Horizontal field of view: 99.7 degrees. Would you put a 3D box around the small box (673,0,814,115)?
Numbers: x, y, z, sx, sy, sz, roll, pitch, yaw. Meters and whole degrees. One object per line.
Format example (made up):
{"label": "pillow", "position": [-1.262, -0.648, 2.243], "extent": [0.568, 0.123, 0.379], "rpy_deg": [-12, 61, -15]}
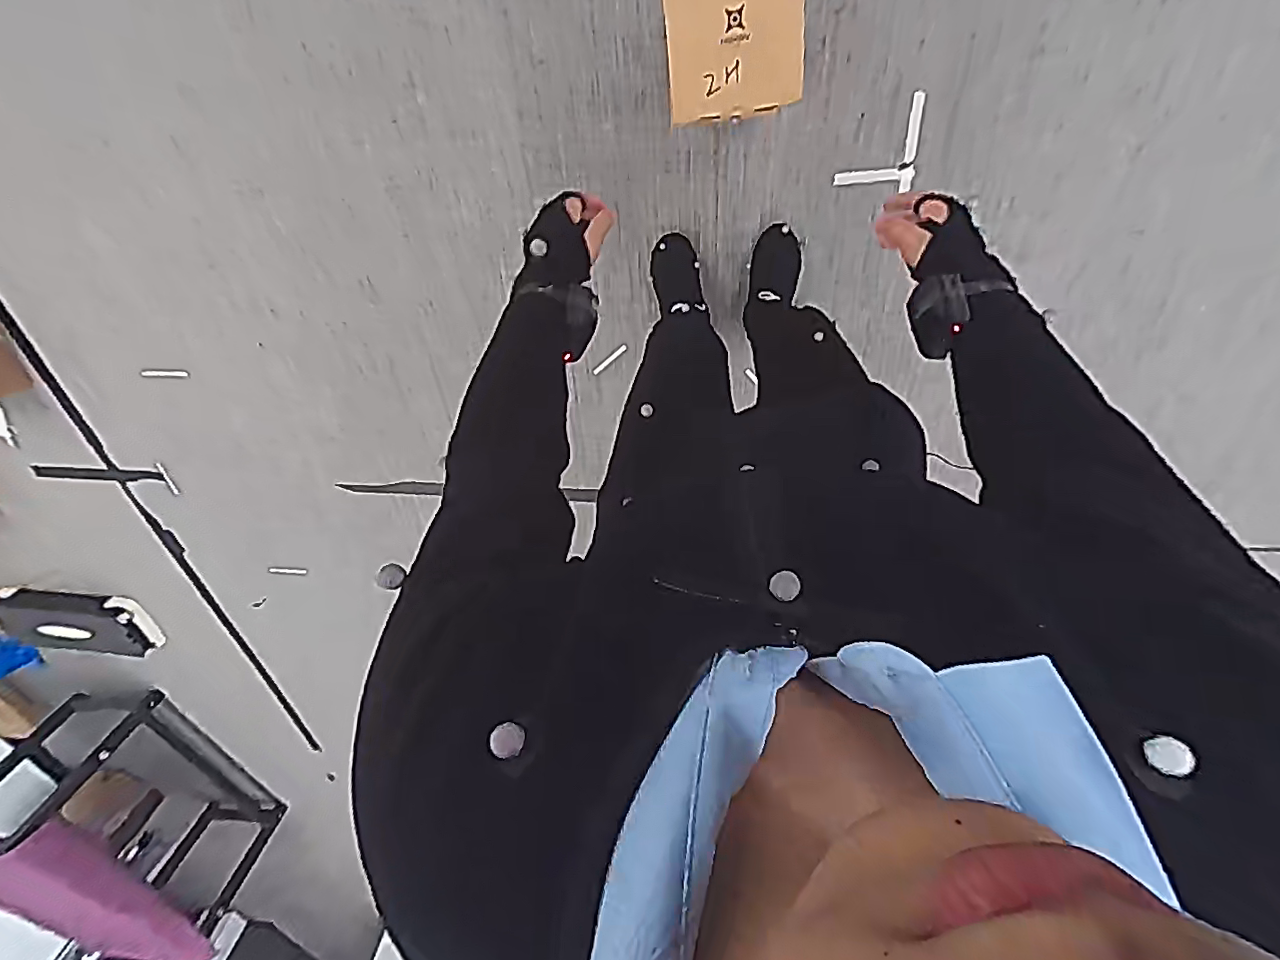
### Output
{"label": "small box", "position": [0.131, -0.592, 0.705], "extent": [0.168, 0.176, 0.179], "rpy_deg": [-3, 125, 11]}
